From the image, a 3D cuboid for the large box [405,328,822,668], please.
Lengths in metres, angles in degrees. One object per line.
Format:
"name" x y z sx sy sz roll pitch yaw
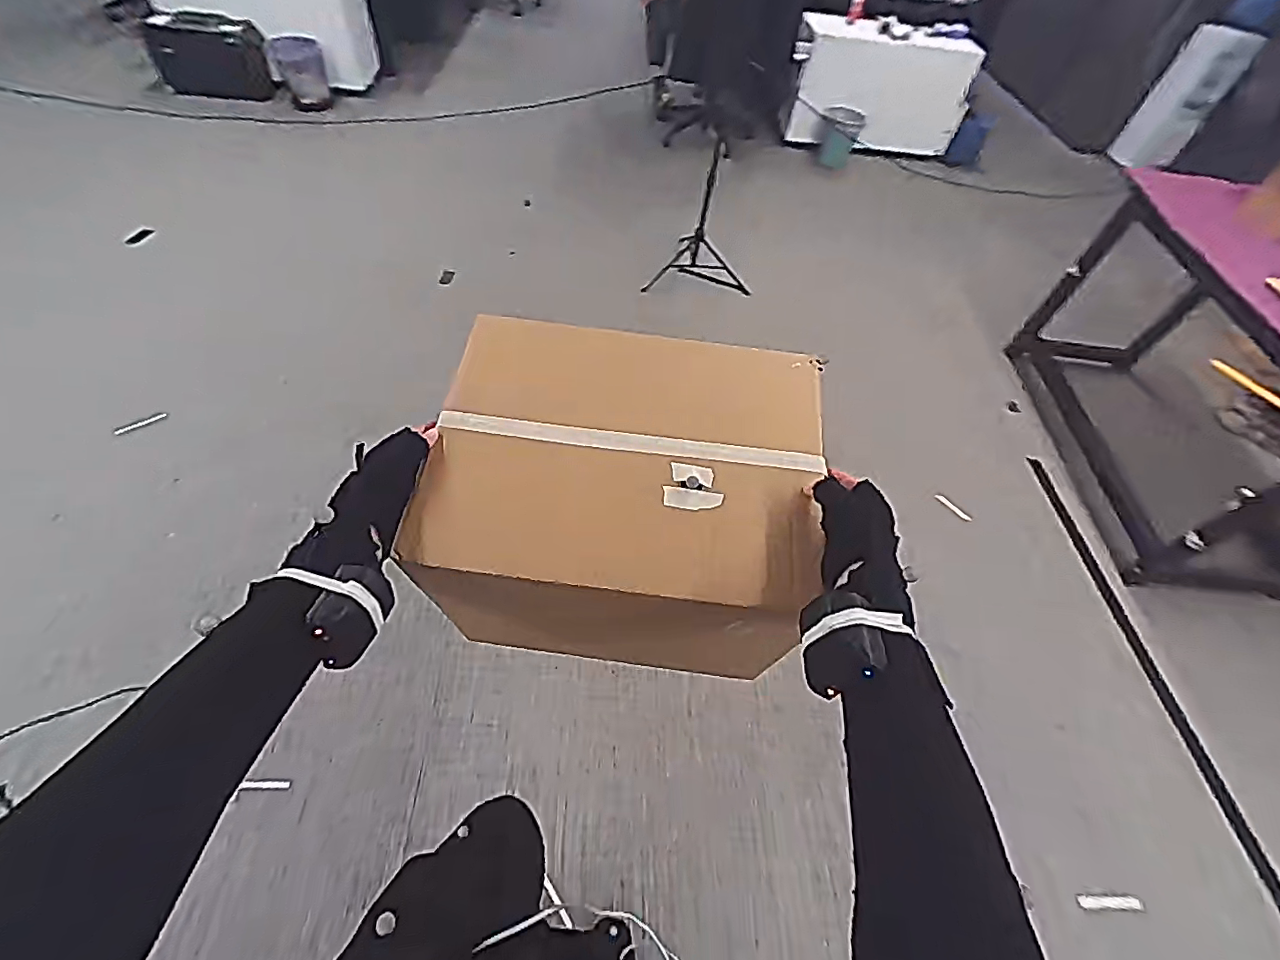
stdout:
"large box" -0.022 0.040 0.708 0.408 0.320 0.320 7 61 0
